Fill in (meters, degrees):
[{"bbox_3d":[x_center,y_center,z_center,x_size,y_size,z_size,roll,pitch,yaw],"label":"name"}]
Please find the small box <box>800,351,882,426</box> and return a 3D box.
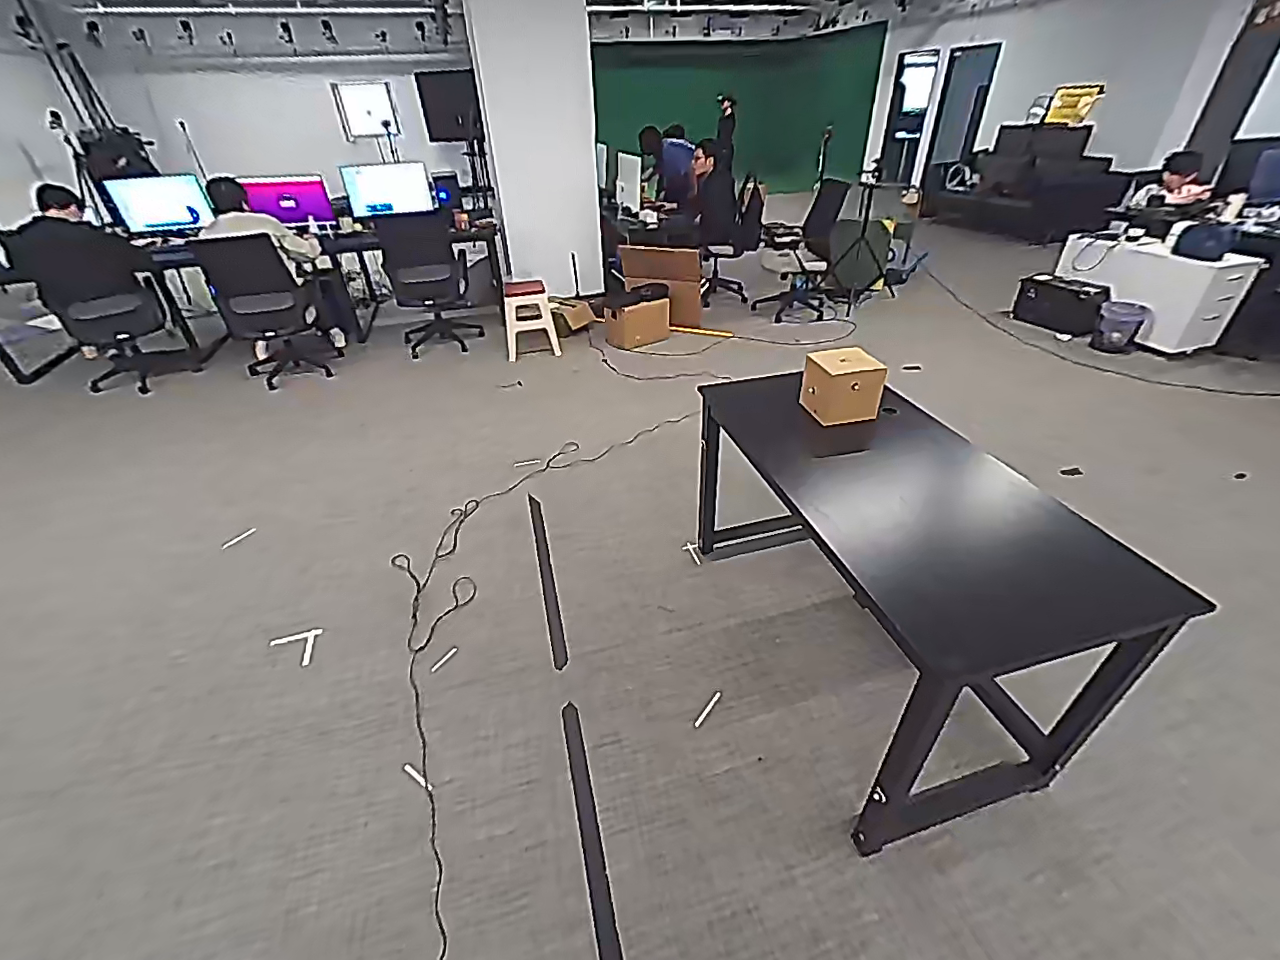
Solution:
[{"bbox_3d":[0.602,-0.276,1.647,0.179,0.176,0.168,-9,35,-9],"label":"small box"}]
